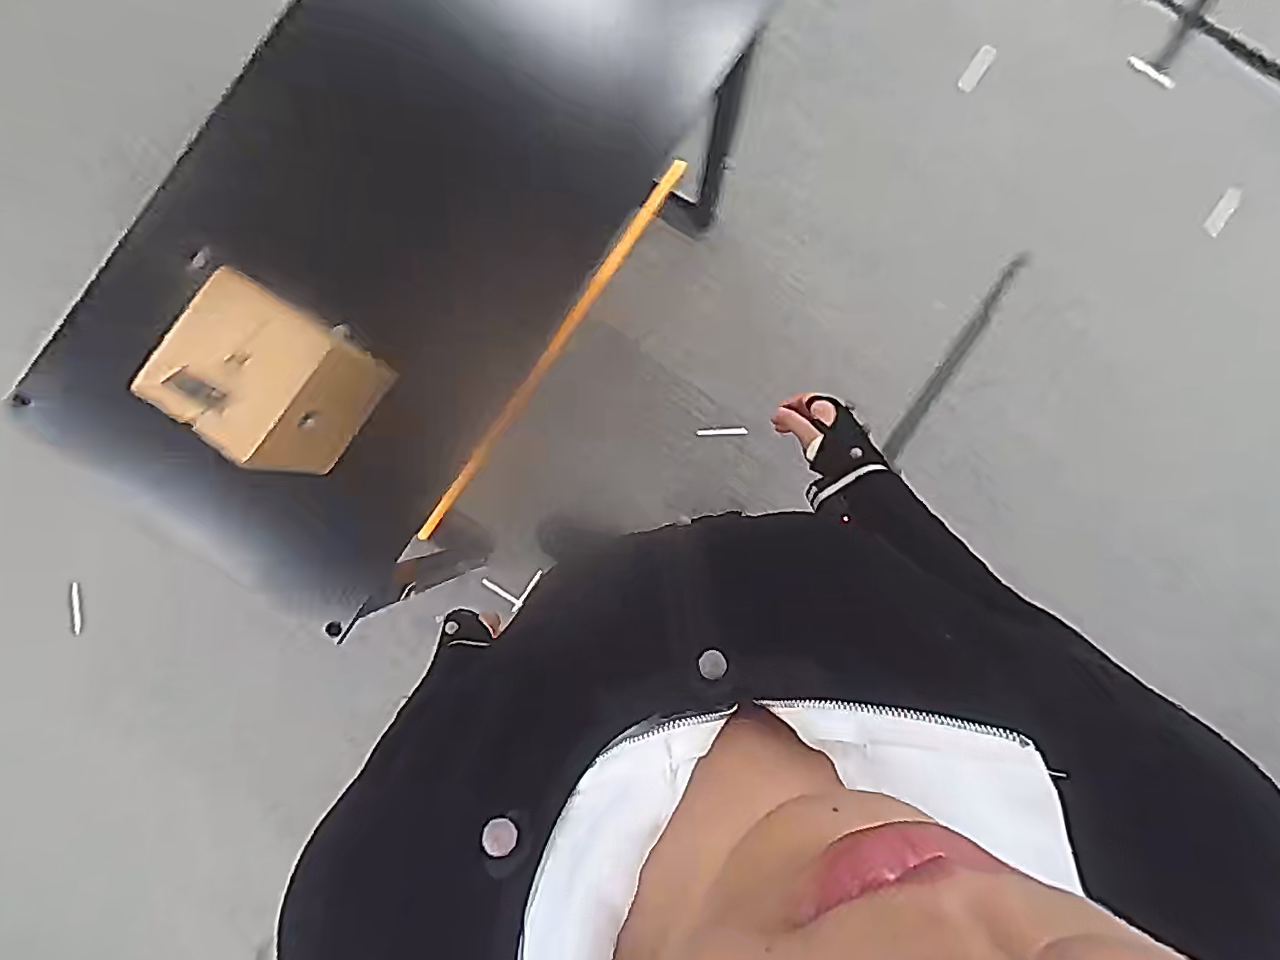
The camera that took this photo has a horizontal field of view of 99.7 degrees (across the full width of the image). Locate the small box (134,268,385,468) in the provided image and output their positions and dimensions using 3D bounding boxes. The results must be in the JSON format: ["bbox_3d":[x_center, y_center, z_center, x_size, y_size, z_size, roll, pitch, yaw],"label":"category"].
[{"bbox_3d":[-0.473,-0.129,0.706,0.168,0.176,0.179,34,88,1],"label":"small box"}]
